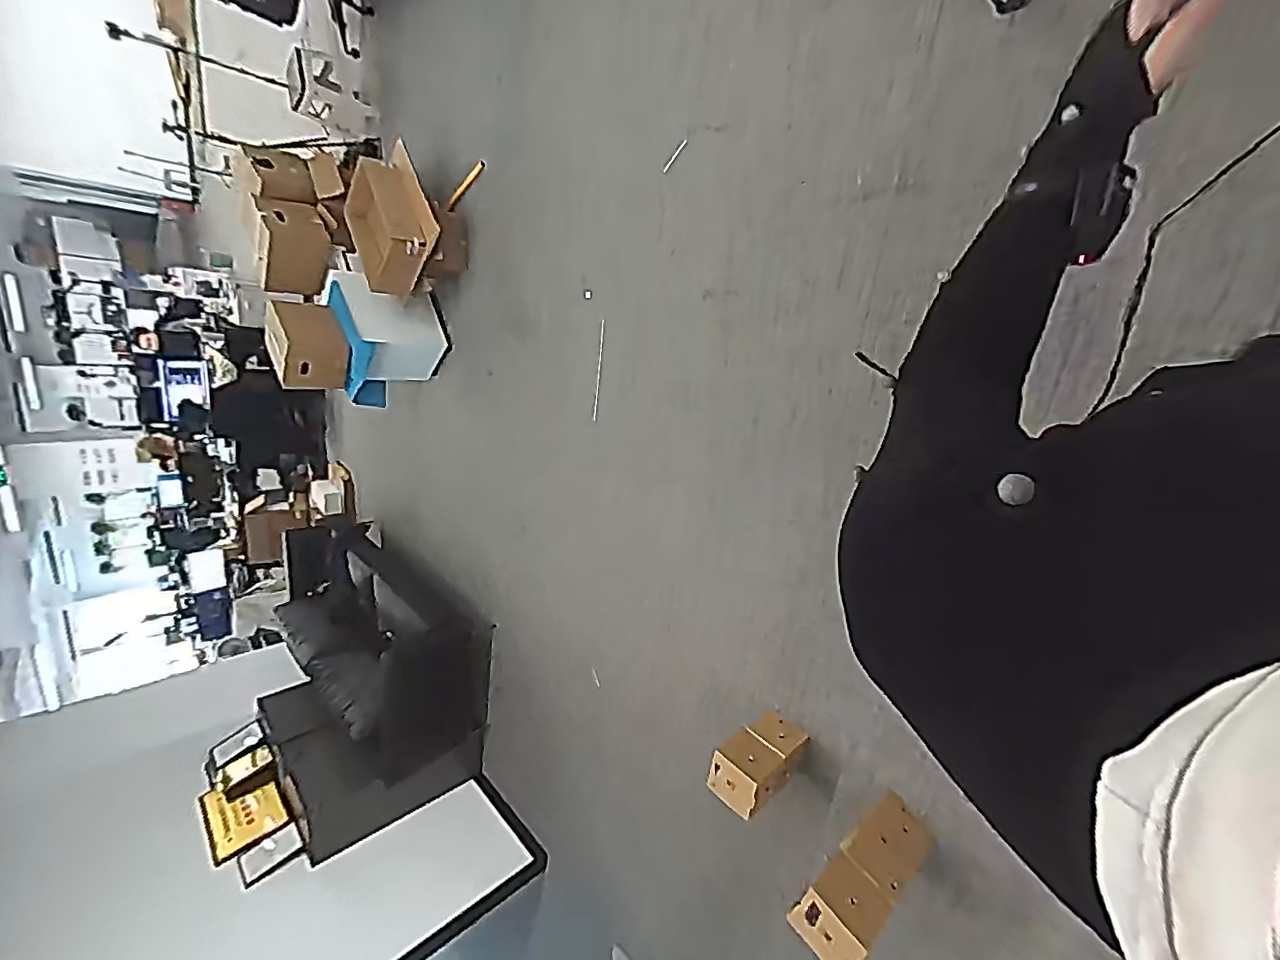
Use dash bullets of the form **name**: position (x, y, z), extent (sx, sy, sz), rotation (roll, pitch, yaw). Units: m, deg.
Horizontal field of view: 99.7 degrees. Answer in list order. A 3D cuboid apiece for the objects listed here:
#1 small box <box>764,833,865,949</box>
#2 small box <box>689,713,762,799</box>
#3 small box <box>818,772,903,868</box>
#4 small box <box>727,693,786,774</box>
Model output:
- **small box**: position (0.487, 1.127, 1.504), extent (0.179, 0.176, 0.168), rotation (39, 124, 31)
- **small box**: position (0.302, 0.953, 1.886), extent (0.179, 0.176, 0.168), rotation (26, 116, 38)
- **small box**: position (0.714, 1.083, 1.736), extent (0.168, 0.176, 0.179), rotation (45, 127, 29)
- **small box**: position (0.420, 0.927, 1.997), extent (0.168, 0.176, 0.179), rotation (24, 115, 39)
